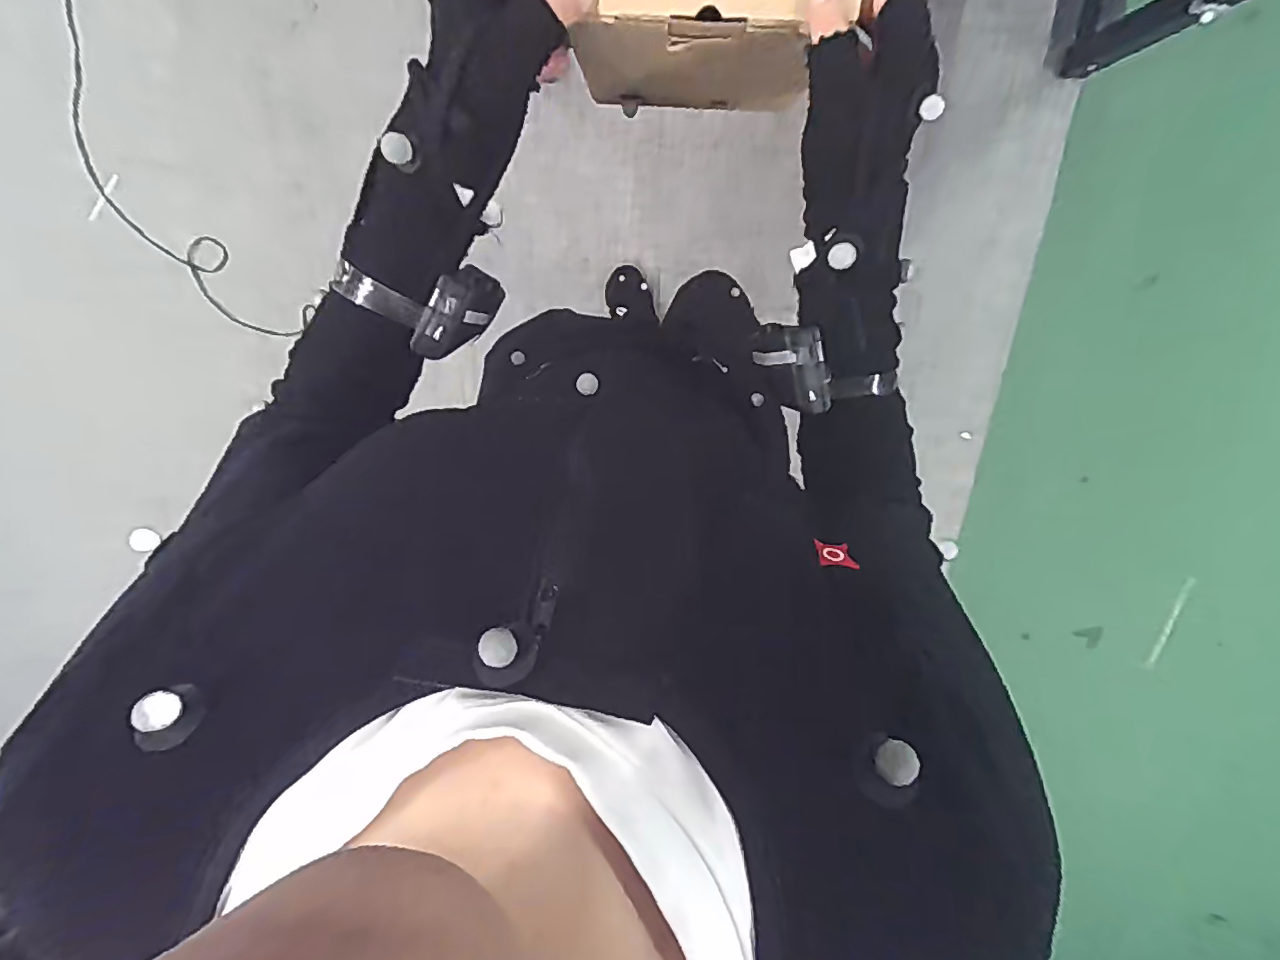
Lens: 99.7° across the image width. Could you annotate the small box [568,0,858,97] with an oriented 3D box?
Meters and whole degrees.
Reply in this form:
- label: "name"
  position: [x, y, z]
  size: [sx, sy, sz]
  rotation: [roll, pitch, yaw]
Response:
- label: "small box"
  position: [0.048, -0.370, 0.345]
  size: [0.168, 0.176, 0.179]
  rotation: [3, 110, 1]
